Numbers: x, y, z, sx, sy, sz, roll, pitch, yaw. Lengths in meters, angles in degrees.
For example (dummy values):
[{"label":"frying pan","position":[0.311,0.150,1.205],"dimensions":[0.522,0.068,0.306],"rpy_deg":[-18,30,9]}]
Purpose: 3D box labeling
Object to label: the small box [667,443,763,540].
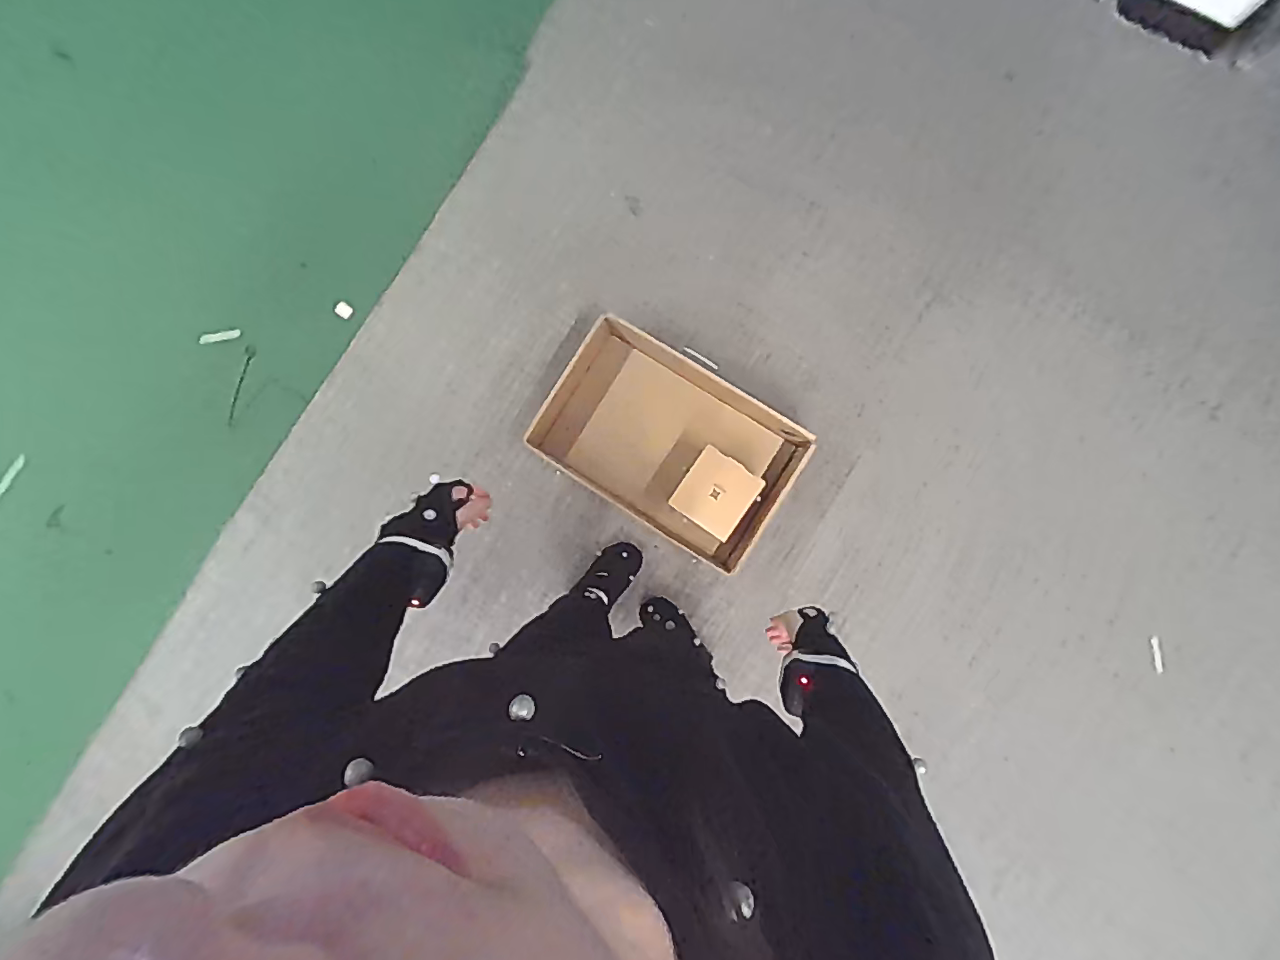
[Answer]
[{"label":"small box","position":[0.183,0.032,1.353],"dimensions":[0.168,0.176,0.179],"rpy_deg":[35,89,4]}]
